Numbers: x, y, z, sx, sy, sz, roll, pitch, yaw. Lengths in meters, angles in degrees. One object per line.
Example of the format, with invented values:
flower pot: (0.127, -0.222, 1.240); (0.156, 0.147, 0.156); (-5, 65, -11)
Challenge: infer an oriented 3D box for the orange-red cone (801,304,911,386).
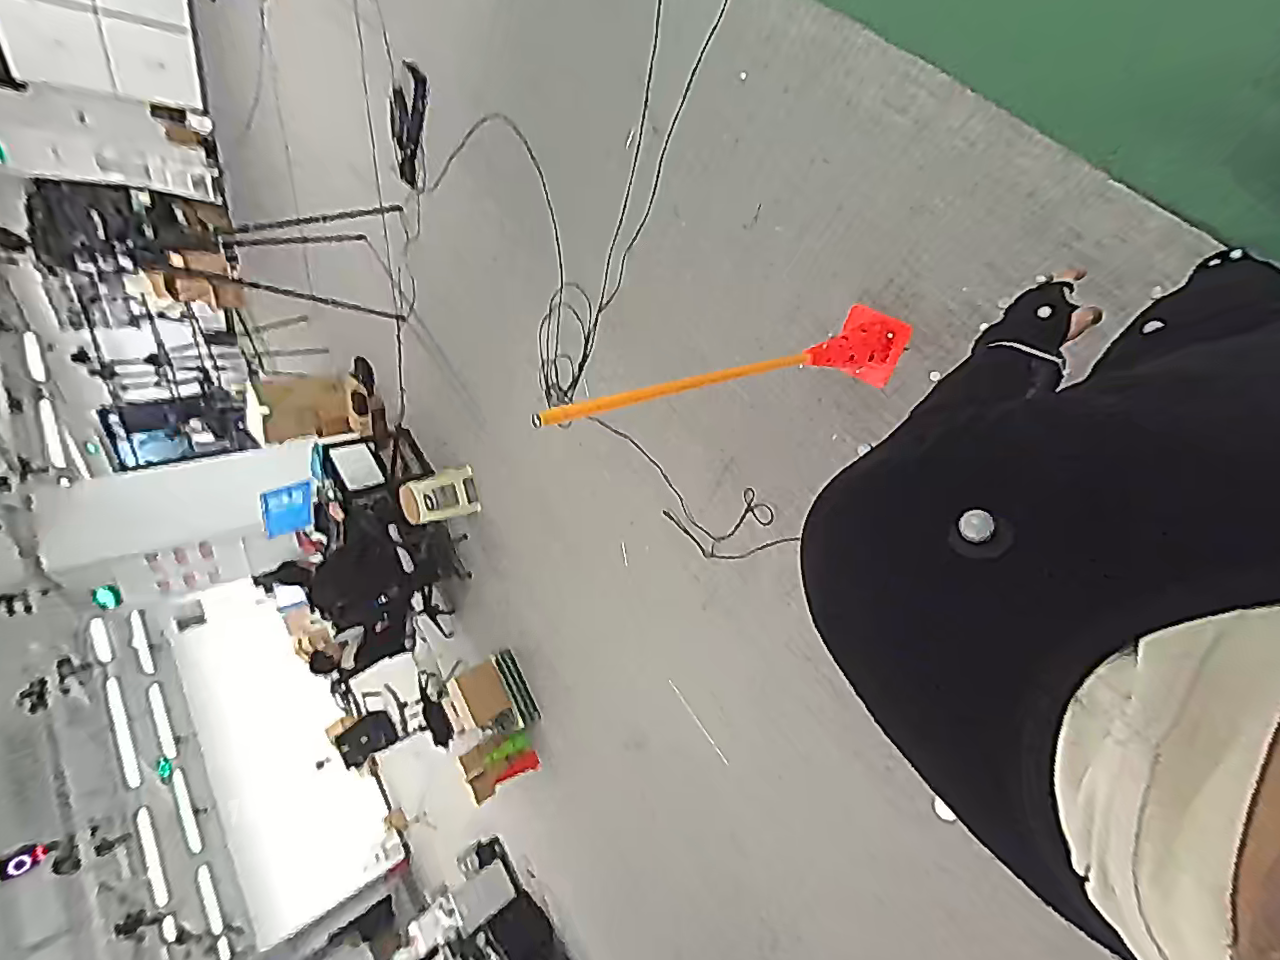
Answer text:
orange-red cone: (0.563, -0.367, 1.520); (0.199, 0.360, 0.198); (41, 131, 33)
